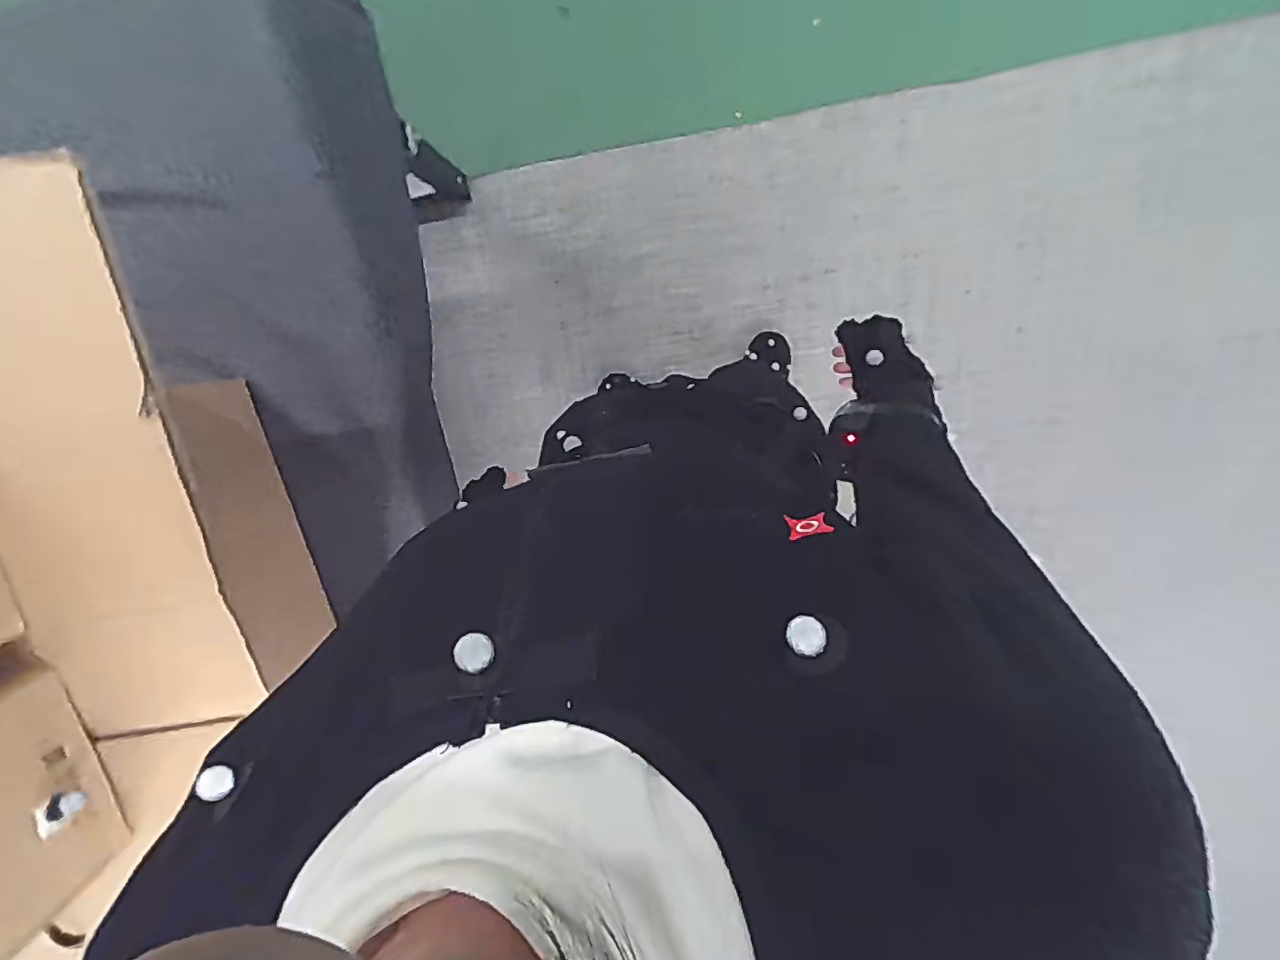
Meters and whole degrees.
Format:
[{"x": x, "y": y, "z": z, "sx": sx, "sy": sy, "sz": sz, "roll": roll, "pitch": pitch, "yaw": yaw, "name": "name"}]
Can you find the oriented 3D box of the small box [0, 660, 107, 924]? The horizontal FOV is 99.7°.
[{"x": -0.517, "y": 0.238, "z": 0.338, "sx": 0.179, "sy": 0.176, "sz": 0.168, "roll": -10, "pitch": 104, "yaw": 1, "name": "small box"}]
